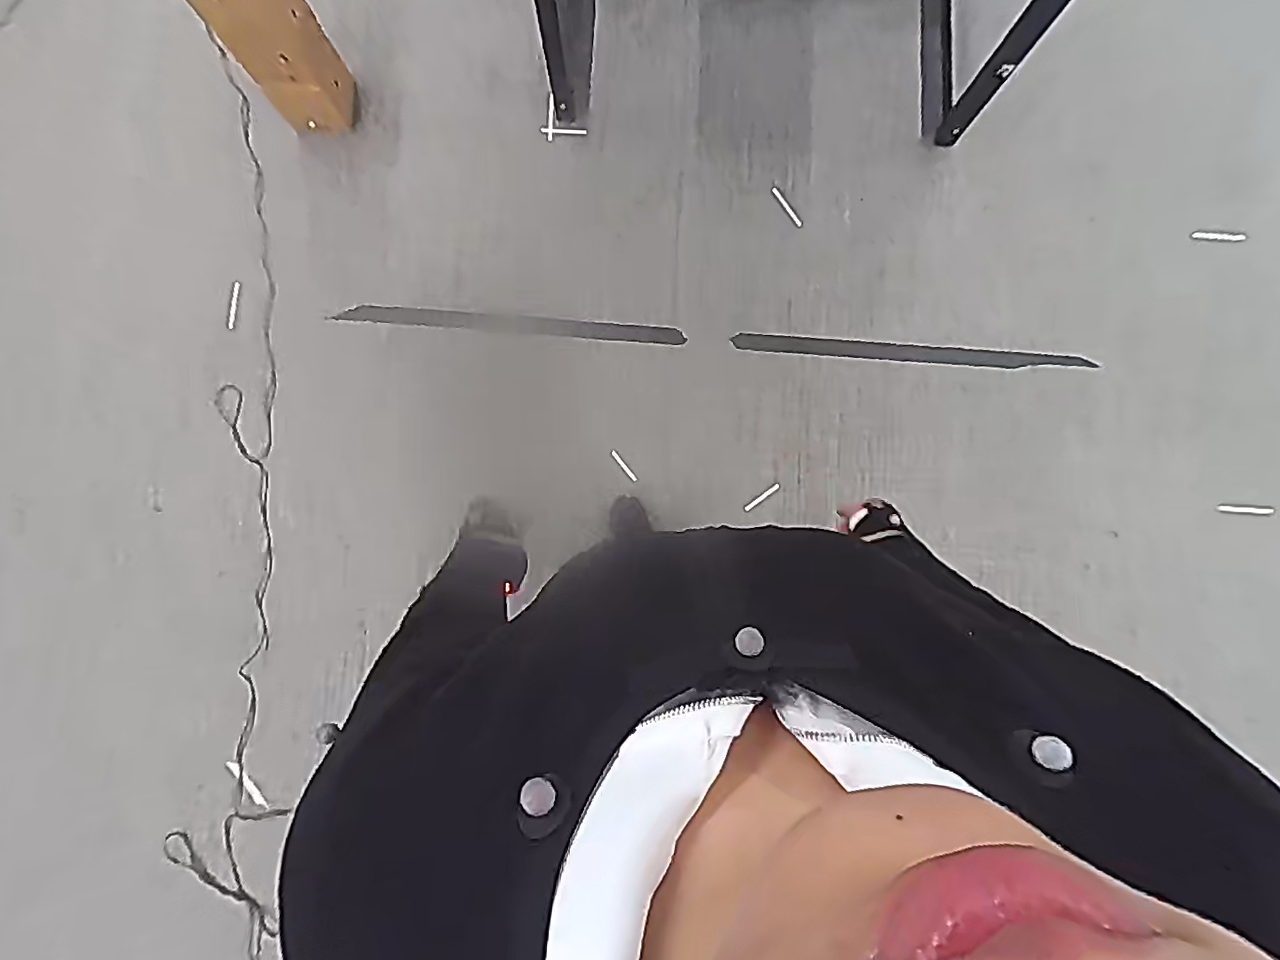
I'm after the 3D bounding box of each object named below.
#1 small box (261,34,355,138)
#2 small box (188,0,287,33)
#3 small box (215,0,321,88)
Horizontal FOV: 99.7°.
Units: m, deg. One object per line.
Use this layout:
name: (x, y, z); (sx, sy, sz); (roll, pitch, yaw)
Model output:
small box: (-0.935, -1.116, 1.536); (0.168, 0.176, 0.179); (0, 85, 0)
small box: (-0.932, -1.150, 1.212); (0.179, 0.176, 0.168); (-1, 85, 0)
small box: (-0.937, -1.137, 1.375); (0.168, 0.176, 0.179); (-4, 83, -2)
